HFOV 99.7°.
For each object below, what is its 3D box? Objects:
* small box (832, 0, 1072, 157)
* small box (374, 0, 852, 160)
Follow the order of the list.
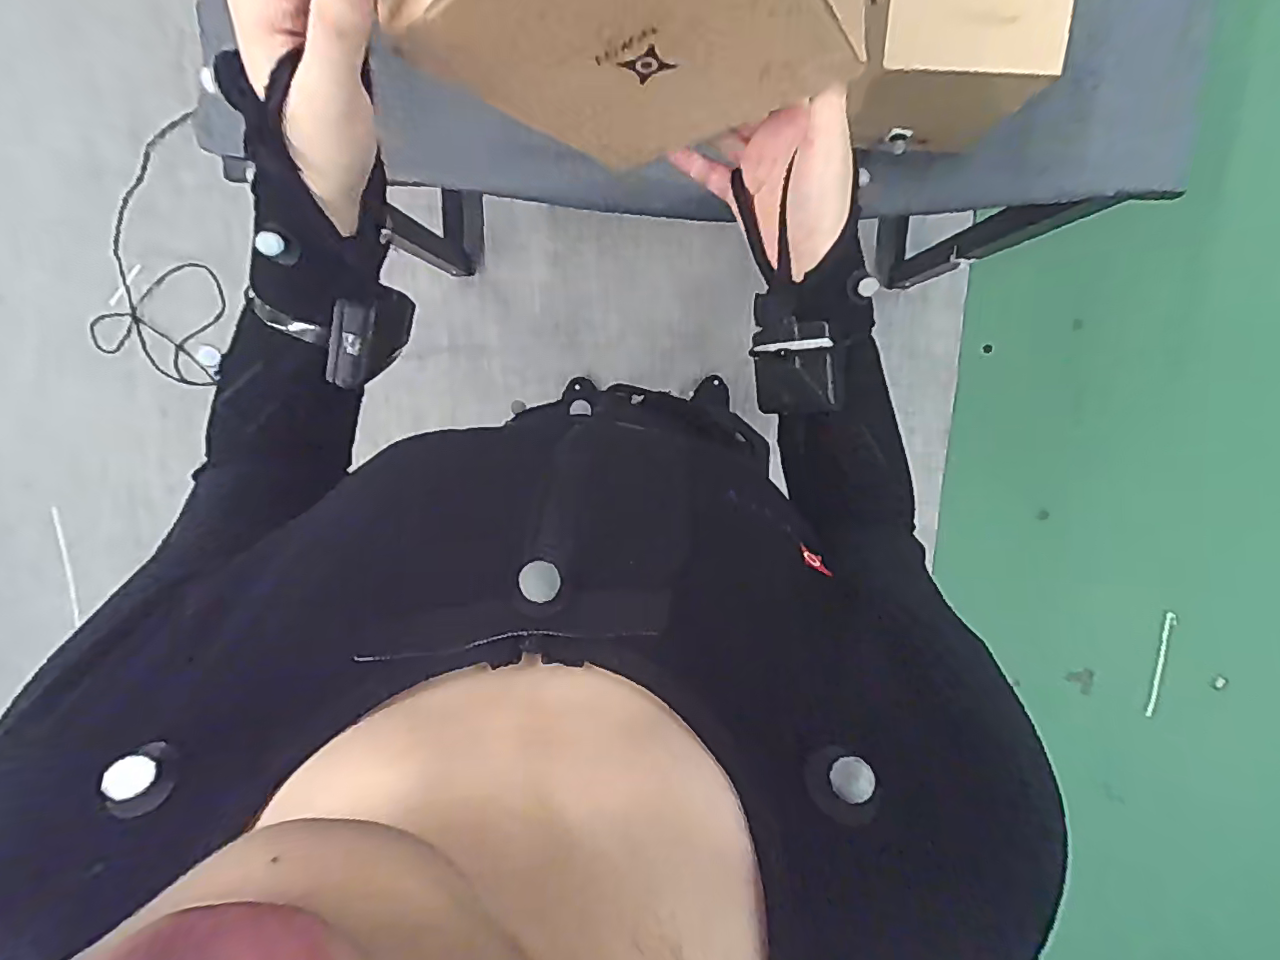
[{"bbox_3d":[0.314,-0.473,0.568,0.168,0.176,0.179,4,99,3],"label":"small box"},{"bbox_3d":[-0.006,-0.281,0.248,0.168,0.179,0.176,5,103,37],"label":"small box"}]
